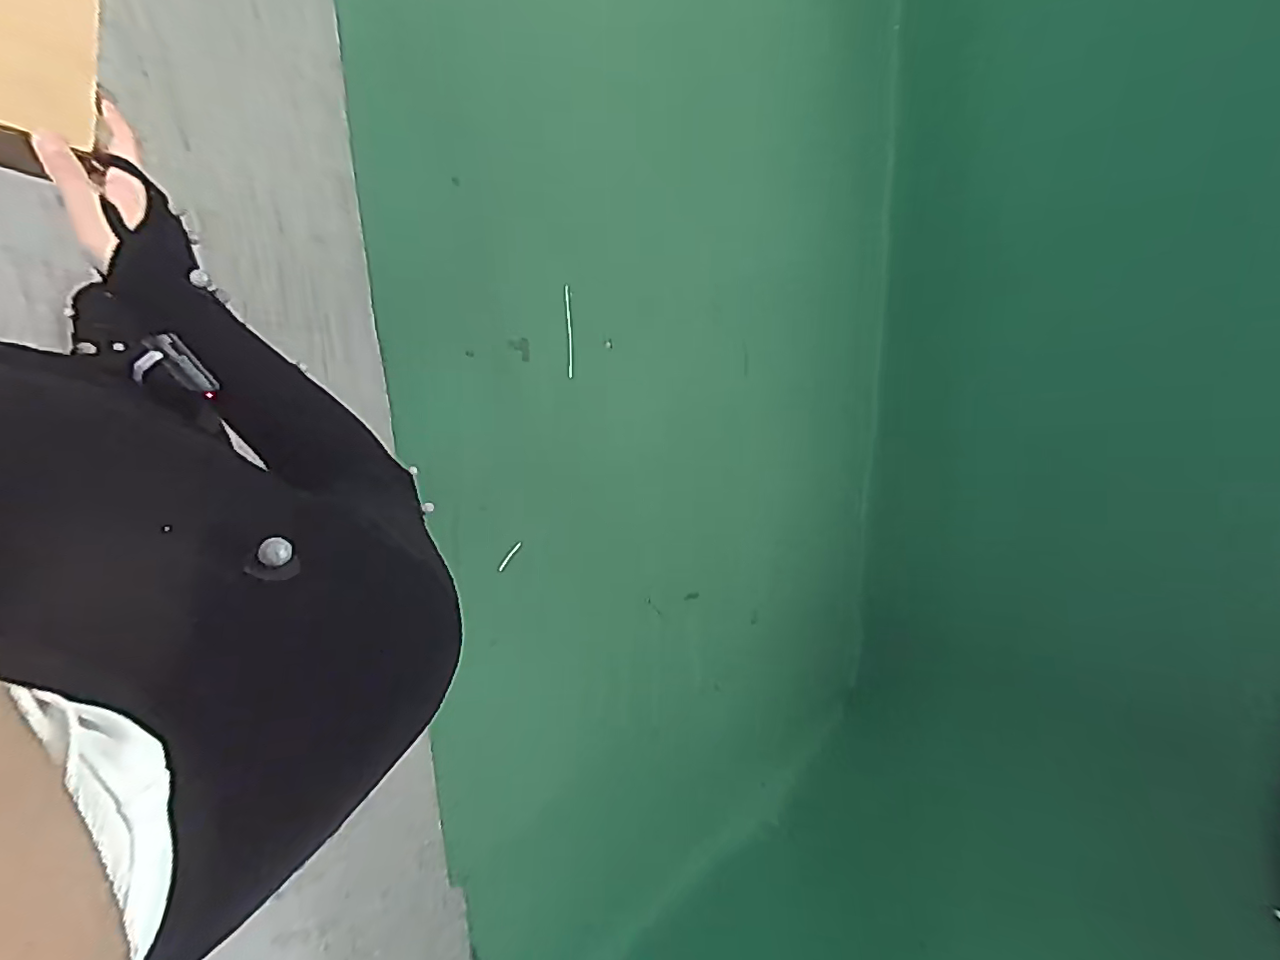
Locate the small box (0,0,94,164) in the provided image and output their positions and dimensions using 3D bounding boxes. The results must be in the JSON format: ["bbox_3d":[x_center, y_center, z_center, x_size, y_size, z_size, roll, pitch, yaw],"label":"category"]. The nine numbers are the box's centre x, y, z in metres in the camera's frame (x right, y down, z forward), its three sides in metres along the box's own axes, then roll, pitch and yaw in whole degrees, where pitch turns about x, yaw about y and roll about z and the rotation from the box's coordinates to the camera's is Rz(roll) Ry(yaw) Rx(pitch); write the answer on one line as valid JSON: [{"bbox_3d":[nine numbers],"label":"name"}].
[{"bbox_3d":[-0.546,-0.377,0.421,0.168,0.176,0.179,0,102,-49],"label":"small box"}]

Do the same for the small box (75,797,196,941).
[{"bbox_3d":[-1.163,0.884,1.253,0.179,0.176,0.168,-14,107,-40],"label":"small box"}]
